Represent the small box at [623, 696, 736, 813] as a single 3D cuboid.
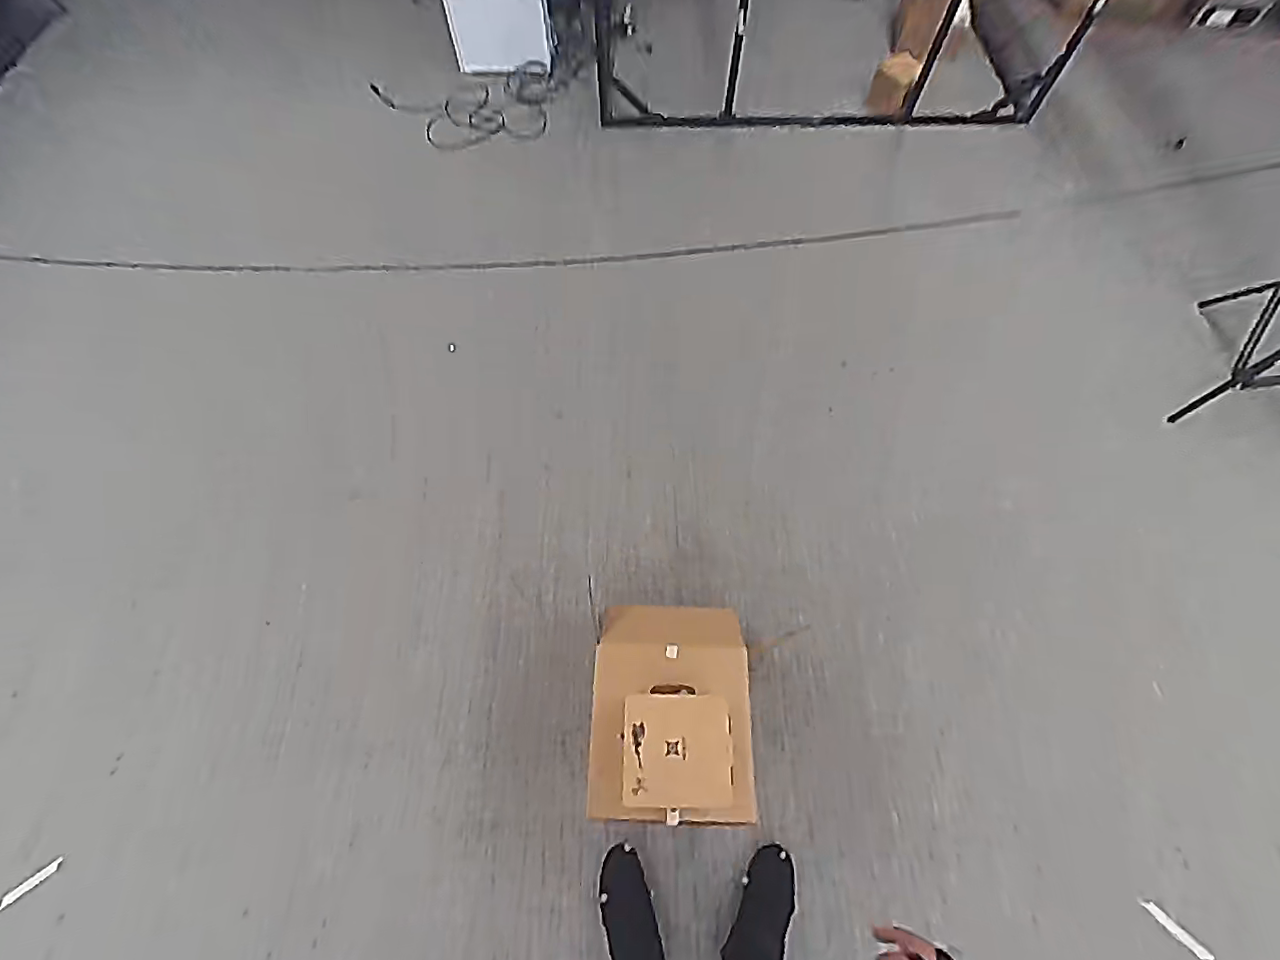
[{"bbox_3d":[0.061,0.469,0.937,0.179,0.176,0.168,2,64,0],"label":"small box"}]
